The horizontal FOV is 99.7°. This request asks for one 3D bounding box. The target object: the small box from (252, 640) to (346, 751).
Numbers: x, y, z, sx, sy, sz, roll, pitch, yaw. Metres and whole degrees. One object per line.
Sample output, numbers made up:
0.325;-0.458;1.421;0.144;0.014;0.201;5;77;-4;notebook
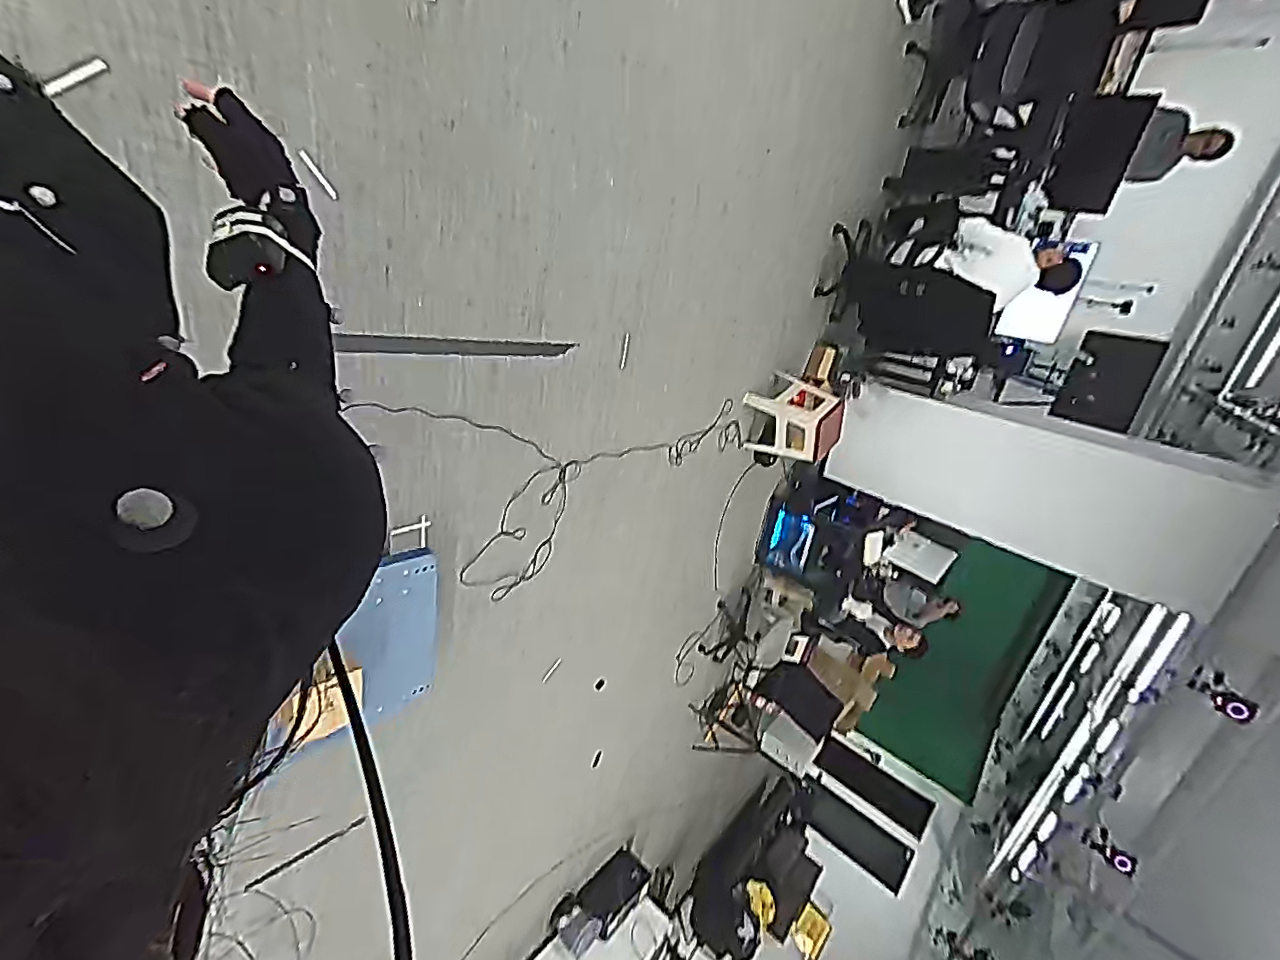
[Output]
-0.899;0.559;1.424;0.168;0.176;0.179;-12;122;-50;small box
